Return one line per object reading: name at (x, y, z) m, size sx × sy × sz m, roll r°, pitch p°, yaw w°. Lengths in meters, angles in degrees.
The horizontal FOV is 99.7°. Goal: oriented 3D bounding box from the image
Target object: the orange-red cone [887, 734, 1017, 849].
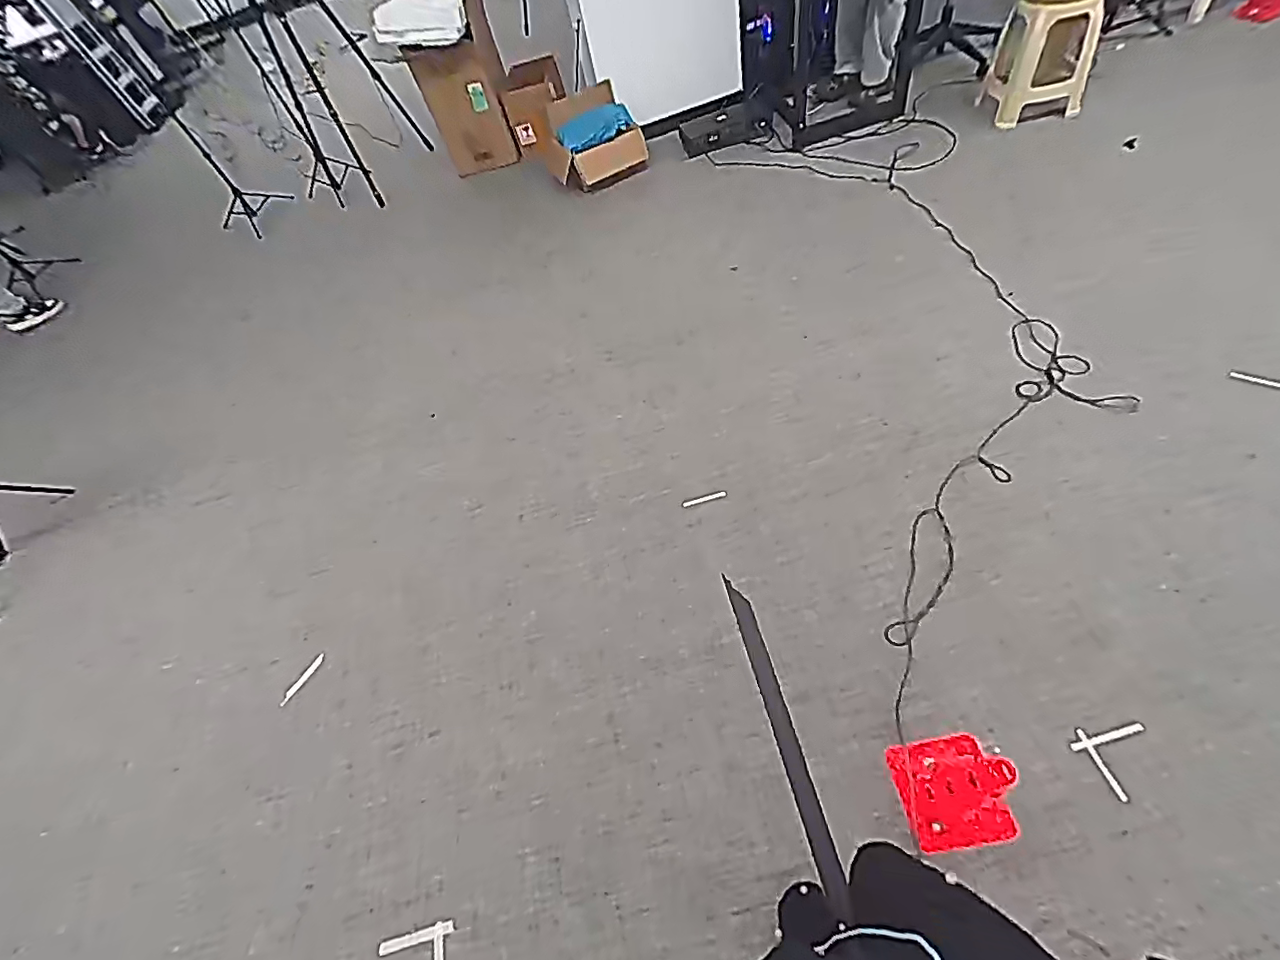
orange-red cone at (0.614, 0.558, 1.000) m, size 0.199 × 0.360 × 0.198 m, roll -12°, pitch 55°, yaw 4°
